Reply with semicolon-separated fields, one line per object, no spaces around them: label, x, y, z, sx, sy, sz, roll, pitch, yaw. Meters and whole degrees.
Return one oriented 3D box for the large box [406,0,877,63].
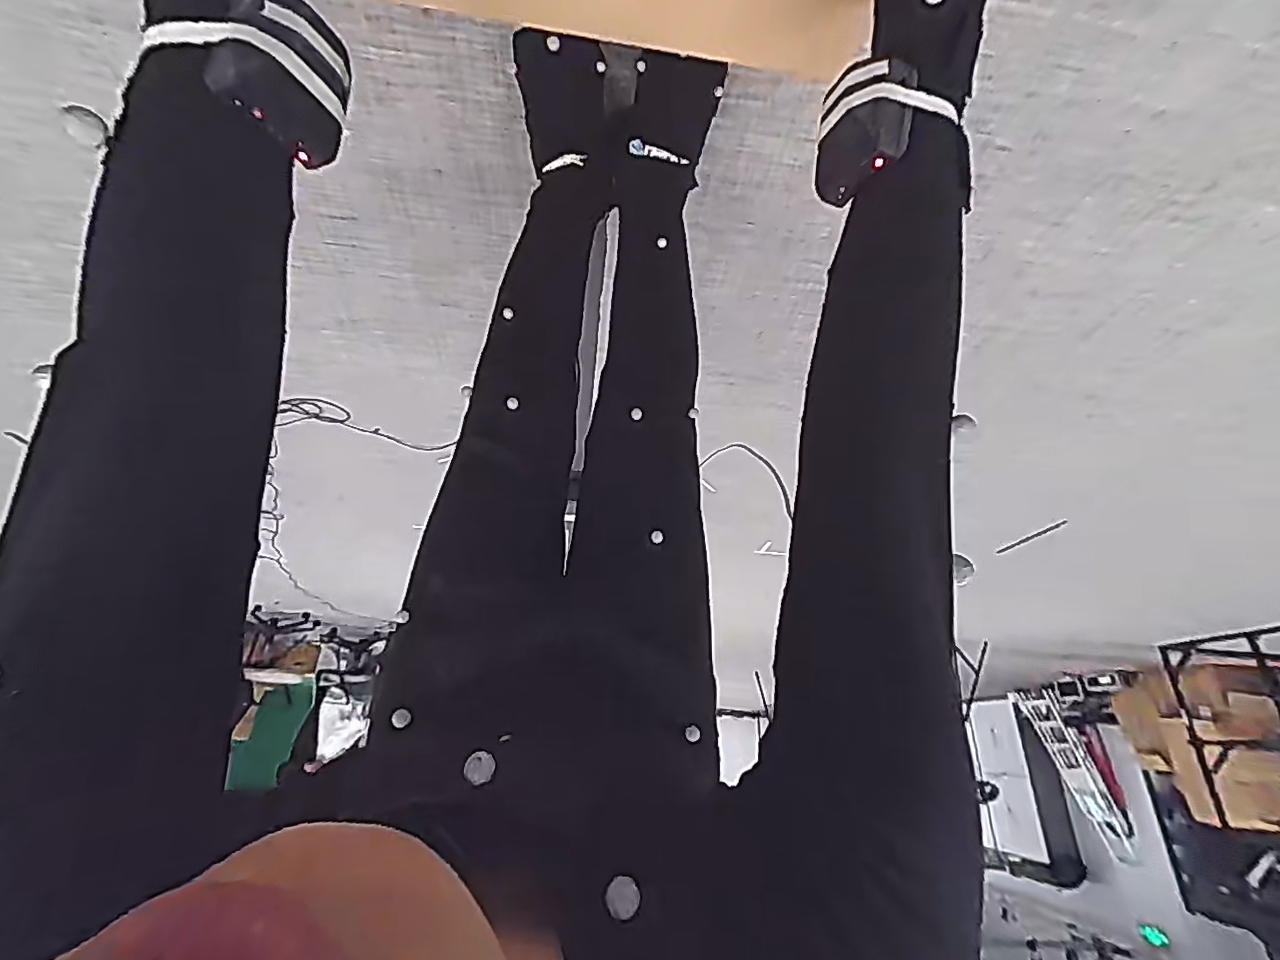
large box;0.002;-0.566;0.371;0.408;0.320;0.320;4;154;-6
